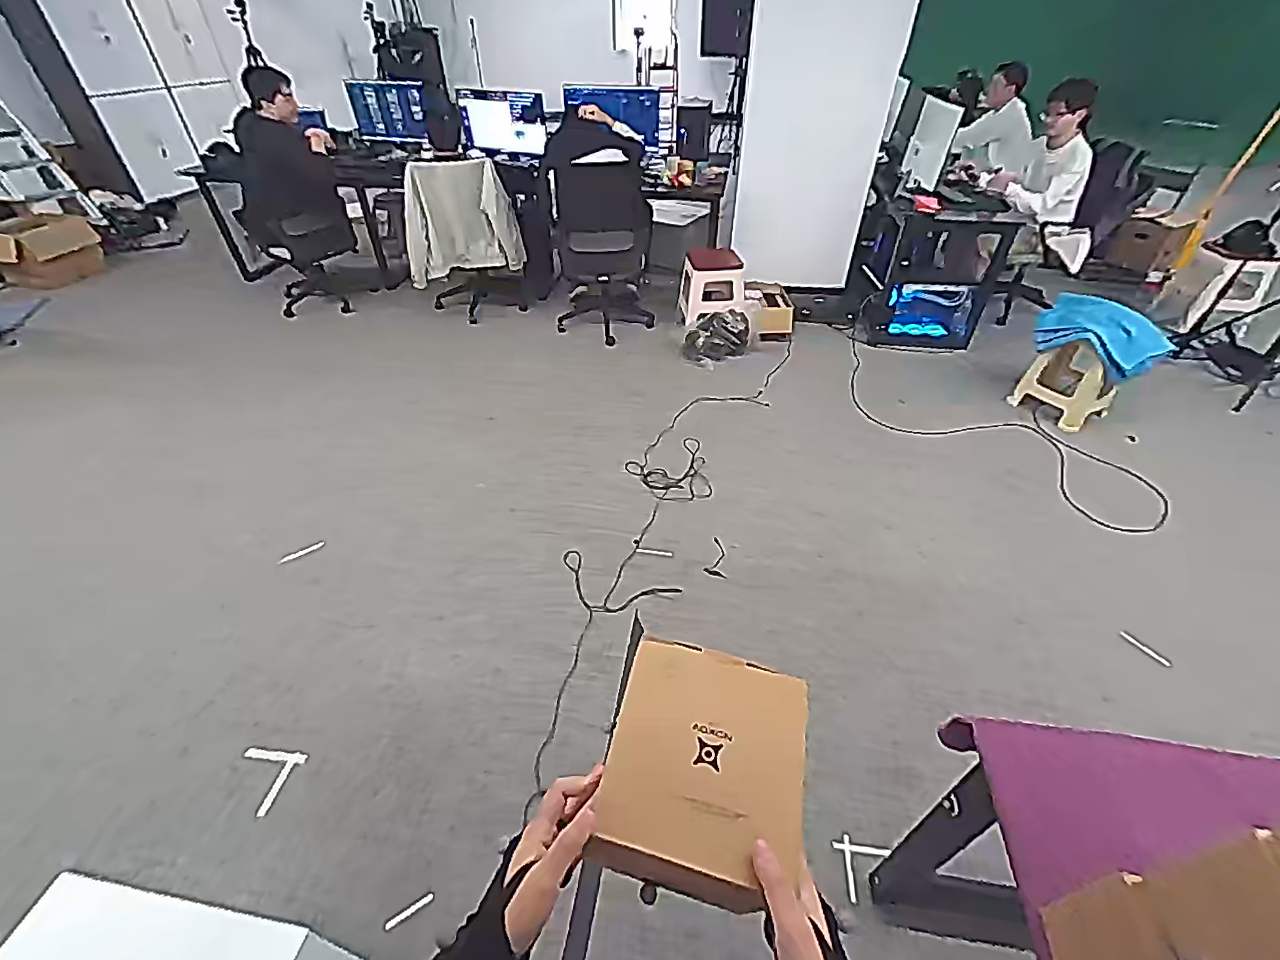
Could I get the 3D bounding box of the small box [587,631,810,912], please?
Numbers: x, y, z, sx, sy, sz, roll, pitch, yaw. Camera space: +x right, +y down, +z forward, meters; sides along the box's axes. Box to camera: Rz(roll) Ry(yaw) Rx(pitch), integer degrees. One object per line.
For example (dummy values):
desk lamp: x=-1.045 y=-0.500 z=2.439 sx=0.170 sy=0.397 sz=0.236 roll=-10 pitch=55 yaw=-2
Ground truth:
small box: x=0.050 y=0.280 z=0.518 sx=0.168 sy=0.176 sz=0.179 roll=16 pitch=49 yaw=5

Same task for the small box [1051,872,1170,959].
small box: x=0.532 y=0.508 z=0.500 sx=0.168 sy=0.176 sz=0.179 roll=9 pitch=41 yaw=10
